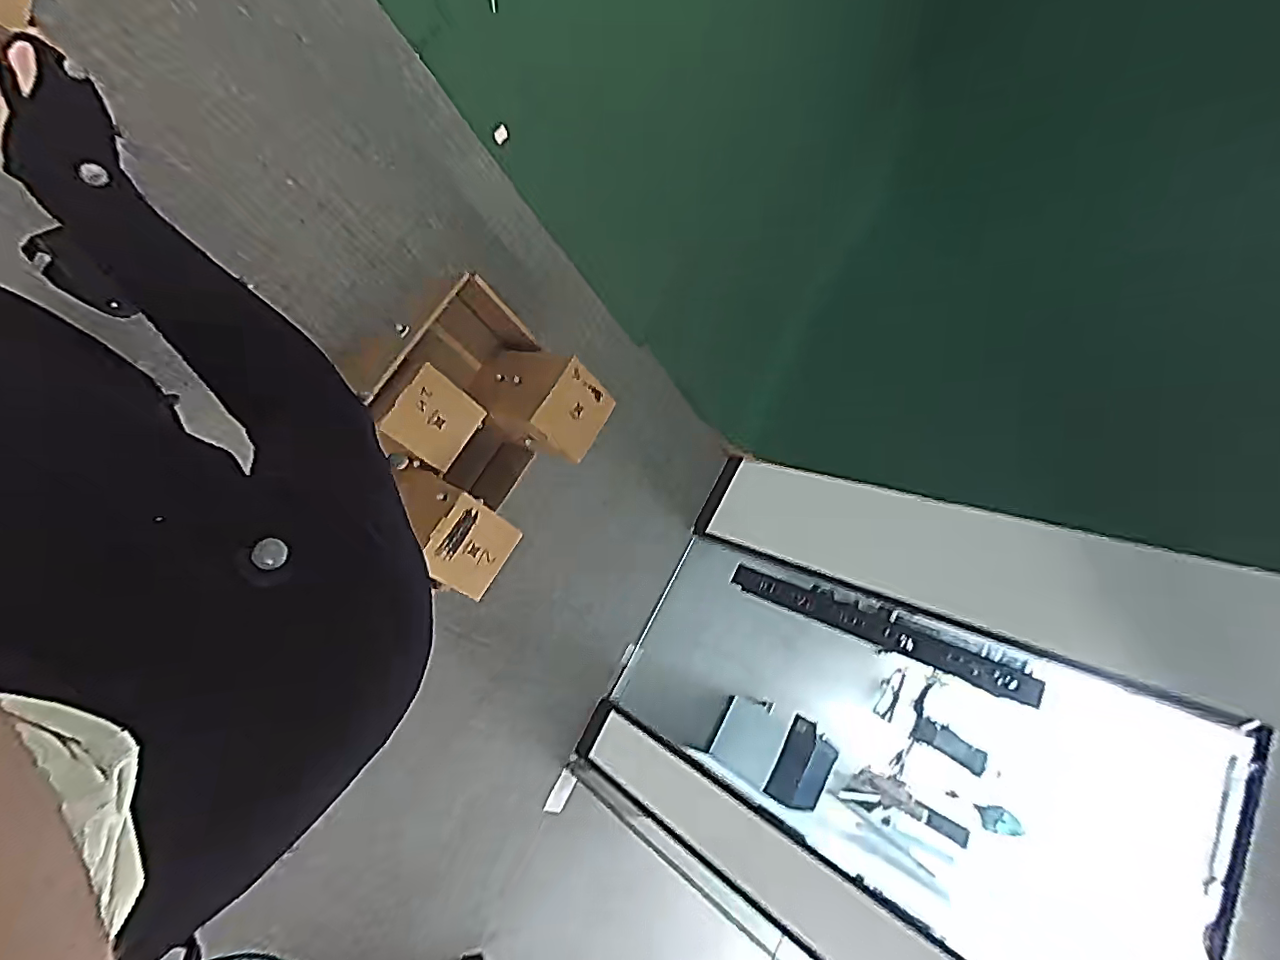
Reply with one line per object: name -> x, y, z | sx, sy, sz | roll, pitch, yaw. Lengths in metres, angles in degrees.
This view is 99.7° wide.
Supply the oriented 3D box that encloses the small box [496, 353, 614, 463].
small box -> -0.198, -0.166, 1.219 | 0.179, 0.176, 0.168 | -58, 136, -14
